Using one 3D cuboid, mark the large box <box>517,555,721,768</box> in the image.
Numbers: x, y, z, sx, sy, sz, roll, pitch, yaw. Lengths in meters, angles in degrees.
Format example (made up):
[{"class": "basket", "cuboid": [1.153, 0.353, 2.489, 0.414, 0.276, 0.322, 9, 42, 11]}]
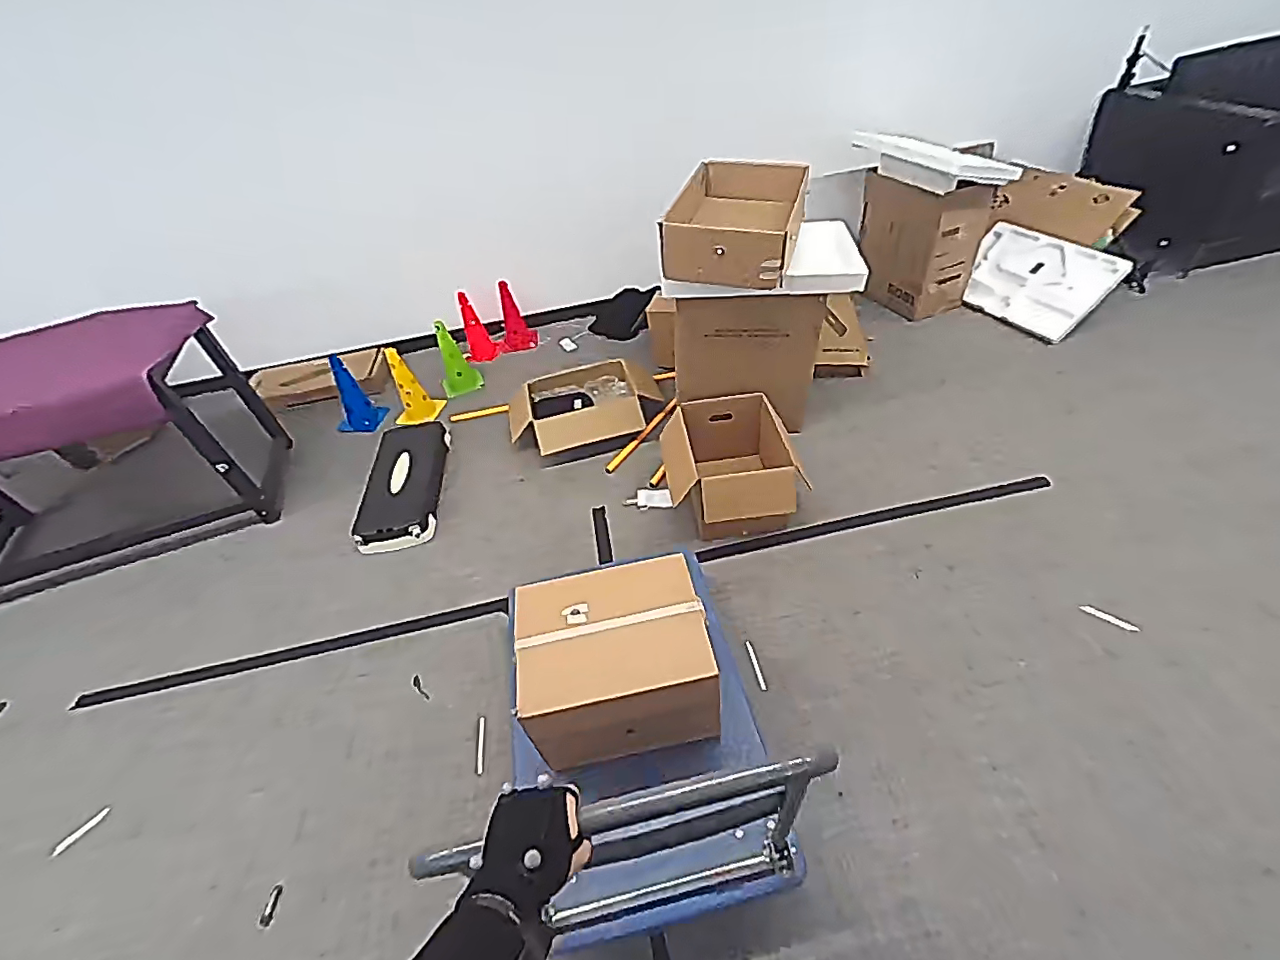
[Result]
[{"class": "large box", "cuboid": [-0.047, 0.429, 1.278, 0.408, 0.320, 0.320, -13, 43, -2]}]
